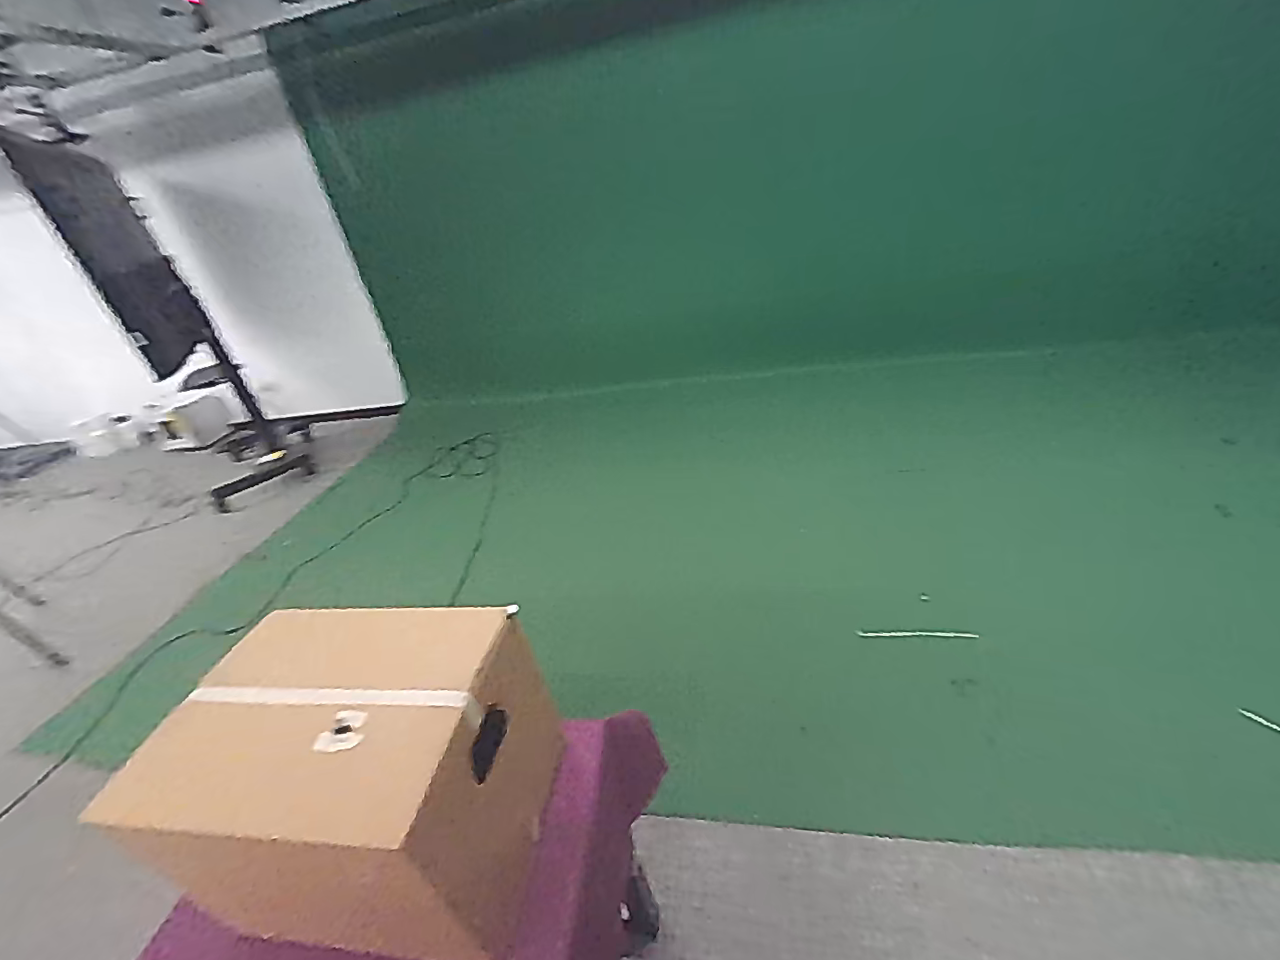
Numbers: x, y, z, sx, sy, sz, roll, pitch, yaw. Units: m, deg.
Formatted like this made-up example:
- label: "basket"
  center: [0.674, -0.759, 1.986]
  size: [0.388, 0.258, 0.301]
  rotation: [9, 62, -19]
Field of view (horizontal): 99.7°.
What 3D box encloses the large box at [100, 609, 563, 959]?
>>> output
- label: "large box"
  center: [-0.364, 0.402, 0.758]
  size: [0.408, 0.320, 0.320]
  rotation: [-3, 32, 11]
